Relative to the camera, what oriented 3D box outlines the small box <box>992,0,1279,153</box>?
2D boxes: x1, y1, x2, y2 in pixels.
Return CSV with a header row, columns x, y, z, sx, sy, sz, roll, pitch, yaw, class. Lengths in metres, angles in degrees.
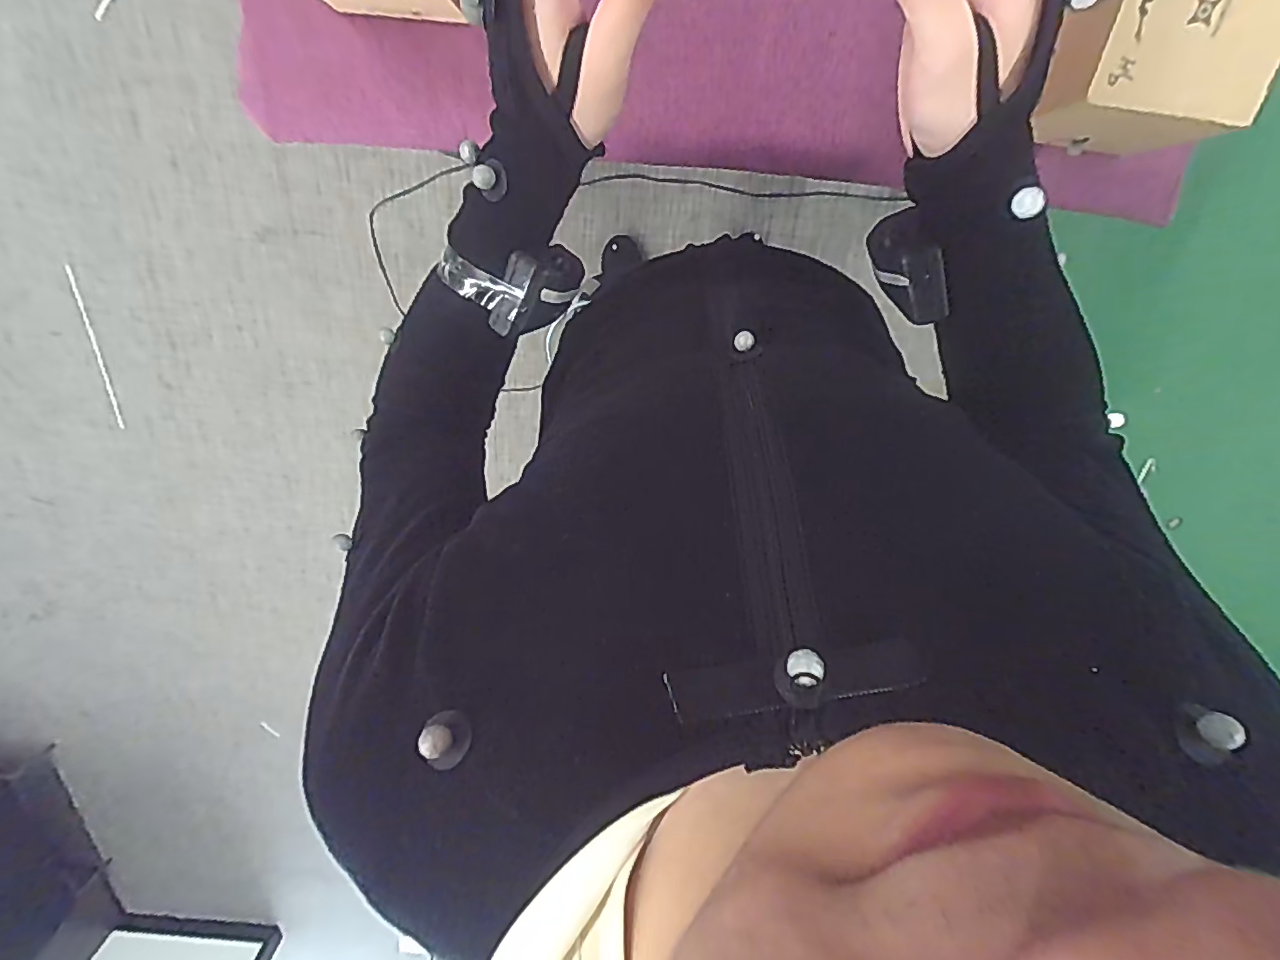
x,y,z,sx,sy,sz,roll,pitch,yaw,class
0.542,-0.474,0.593,0.179,0.176,0.168,8,112,-1,small box
